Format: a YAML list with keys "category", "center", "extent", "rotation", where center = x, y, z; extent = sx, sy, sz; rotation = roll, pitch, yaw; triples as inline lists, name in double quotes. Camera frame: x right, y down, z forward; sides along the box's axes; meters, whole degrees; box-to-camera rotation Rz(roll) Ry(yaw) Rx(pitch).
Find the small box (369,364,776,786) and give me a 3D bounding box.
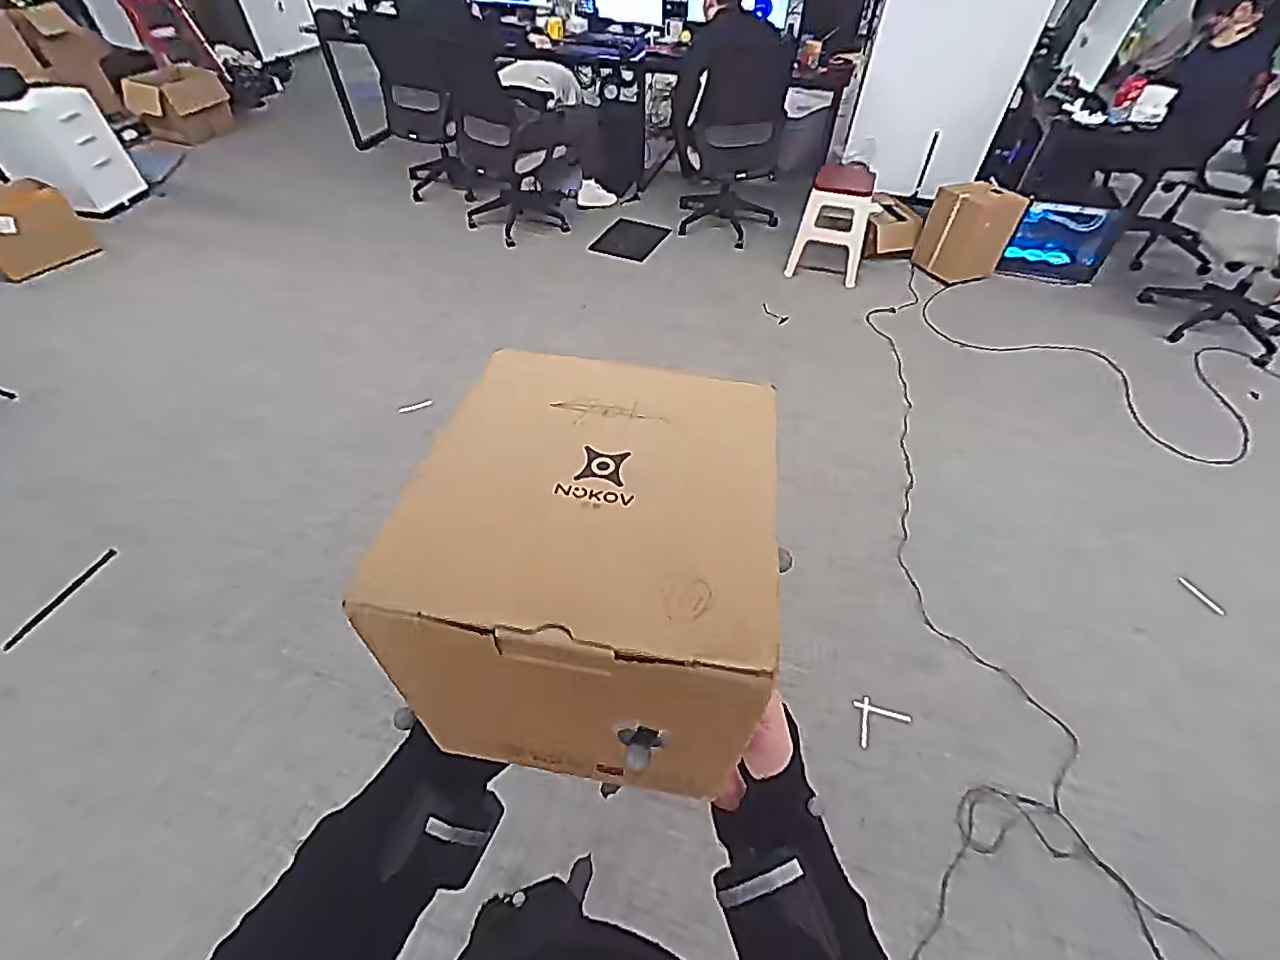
- category: "small box"
  center: [-0.019, 0.058, 0.322]
  extent: [0.168, 0.176, 0.179]
  rotation: [9, 47, 3]
